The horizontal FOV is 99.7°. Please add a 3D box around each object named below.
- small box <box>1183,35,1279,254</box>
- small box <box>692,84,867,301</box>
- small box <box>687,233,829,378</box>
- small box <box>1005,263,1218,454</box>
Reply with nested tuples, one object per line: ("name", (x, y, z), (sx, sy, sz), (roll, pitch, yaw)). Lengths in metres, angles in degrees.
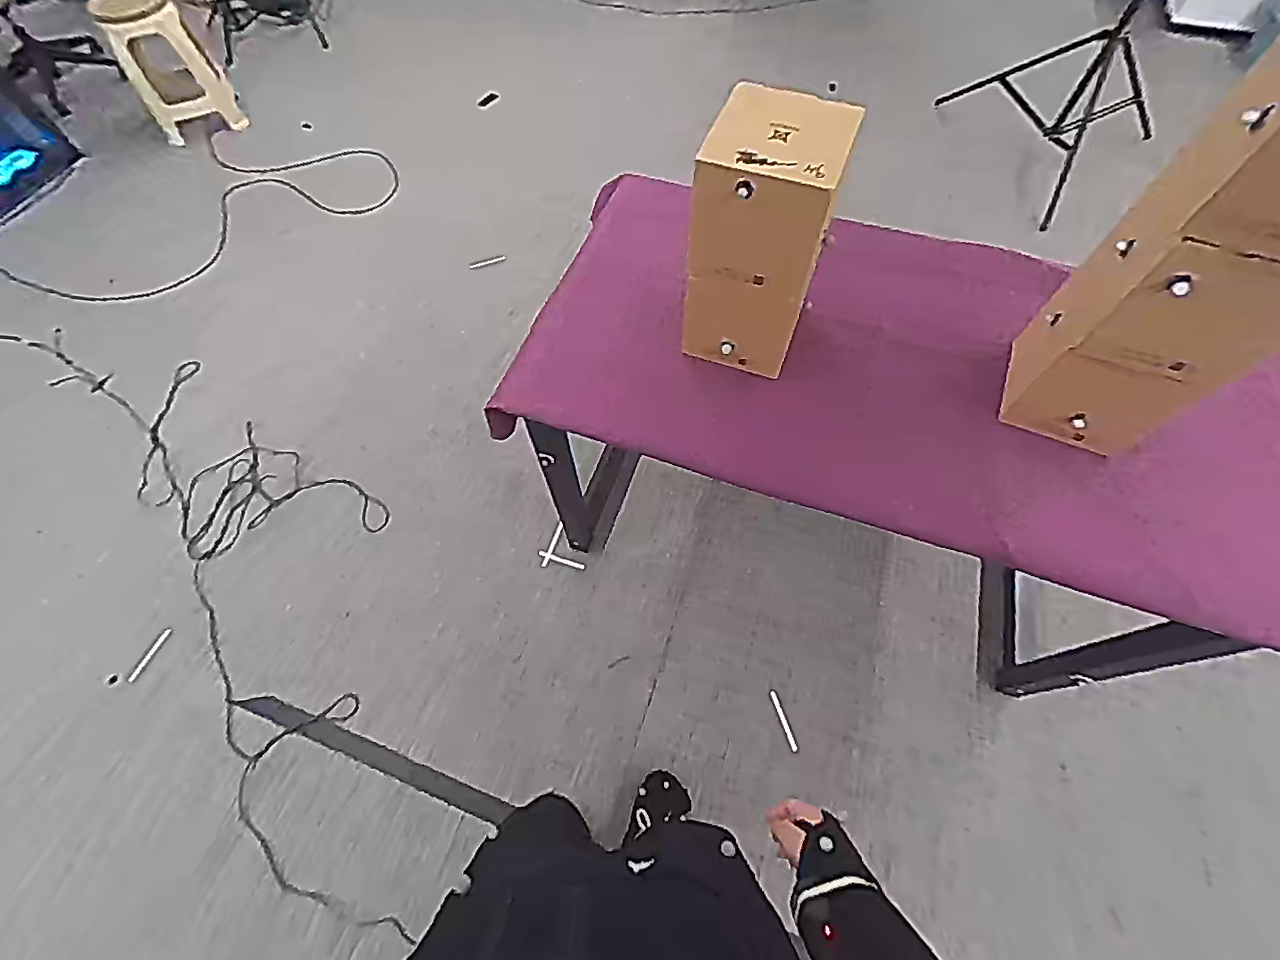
("small box", (0.650, -0.320, 0.487), (0.168, 0.176, 0.179), (24, 64, 12))
("small box", (0.173, -0.373, 0.711), (0.168, 0.176, 0.179), (19, 64, 11))
("small box", (0.177, -0.296, 0.856), (0.168, 0.176, 0.179), (19, 65, 11))
("small box", (0.663, -0.170, 0.777), (0.168, 0.176, 0.179), (22, 65, 13))
